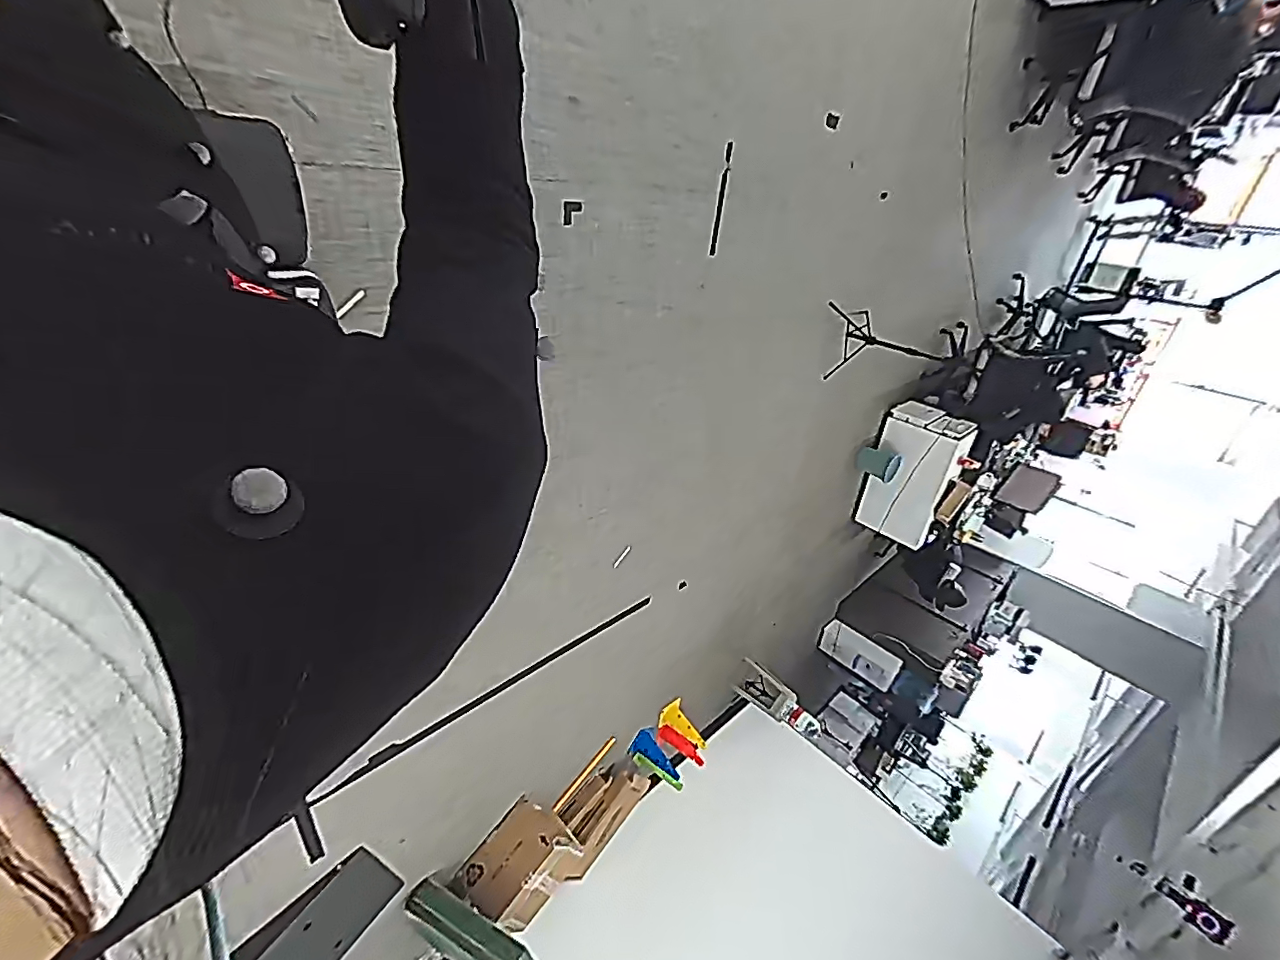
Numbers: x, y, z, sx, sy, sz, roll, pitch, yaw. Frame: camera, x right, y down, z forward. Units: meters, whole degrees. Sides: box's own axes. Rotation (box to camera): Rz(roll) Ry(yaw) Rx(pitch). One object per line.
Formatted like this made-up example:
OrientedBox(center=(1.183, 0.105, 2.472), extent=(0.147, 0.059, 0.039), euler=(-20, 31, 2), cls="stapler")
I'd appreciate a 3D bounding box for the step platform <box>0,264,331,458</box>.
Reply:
OrientedBox(center=(-1.007, -0.252, 1.074), extent=(0.684, 0.204, 0.286), euler=(-21, 128, -37), cls="step platform")
